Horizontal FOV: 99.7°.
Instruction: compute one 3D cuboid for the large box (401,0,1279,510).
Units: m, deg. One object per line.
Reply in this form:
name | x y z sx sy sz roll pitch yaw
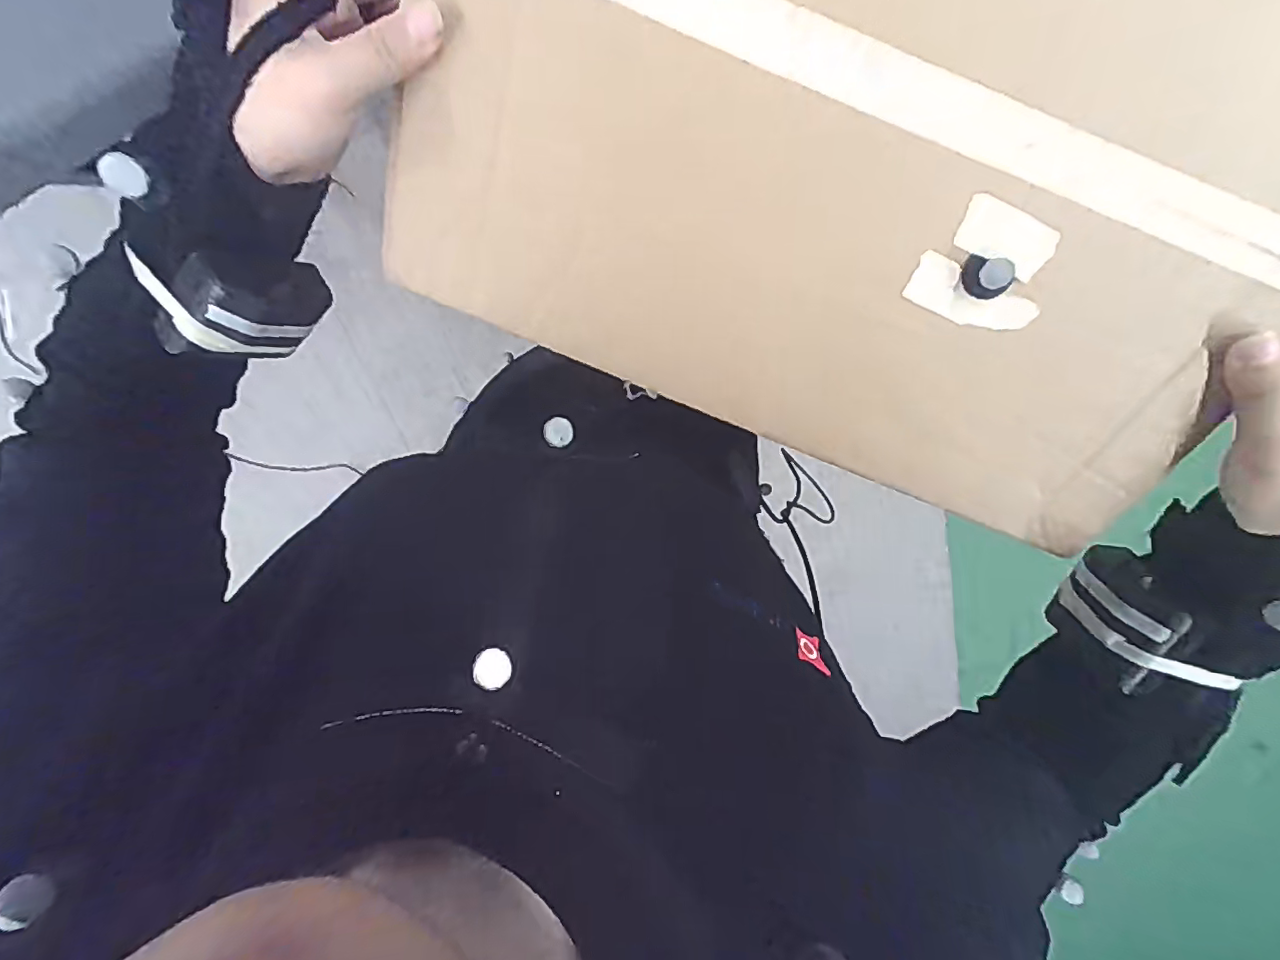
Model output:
large box | 0.126 -0.242 0.339 0.408 0.320 0.320 20 122 -3
